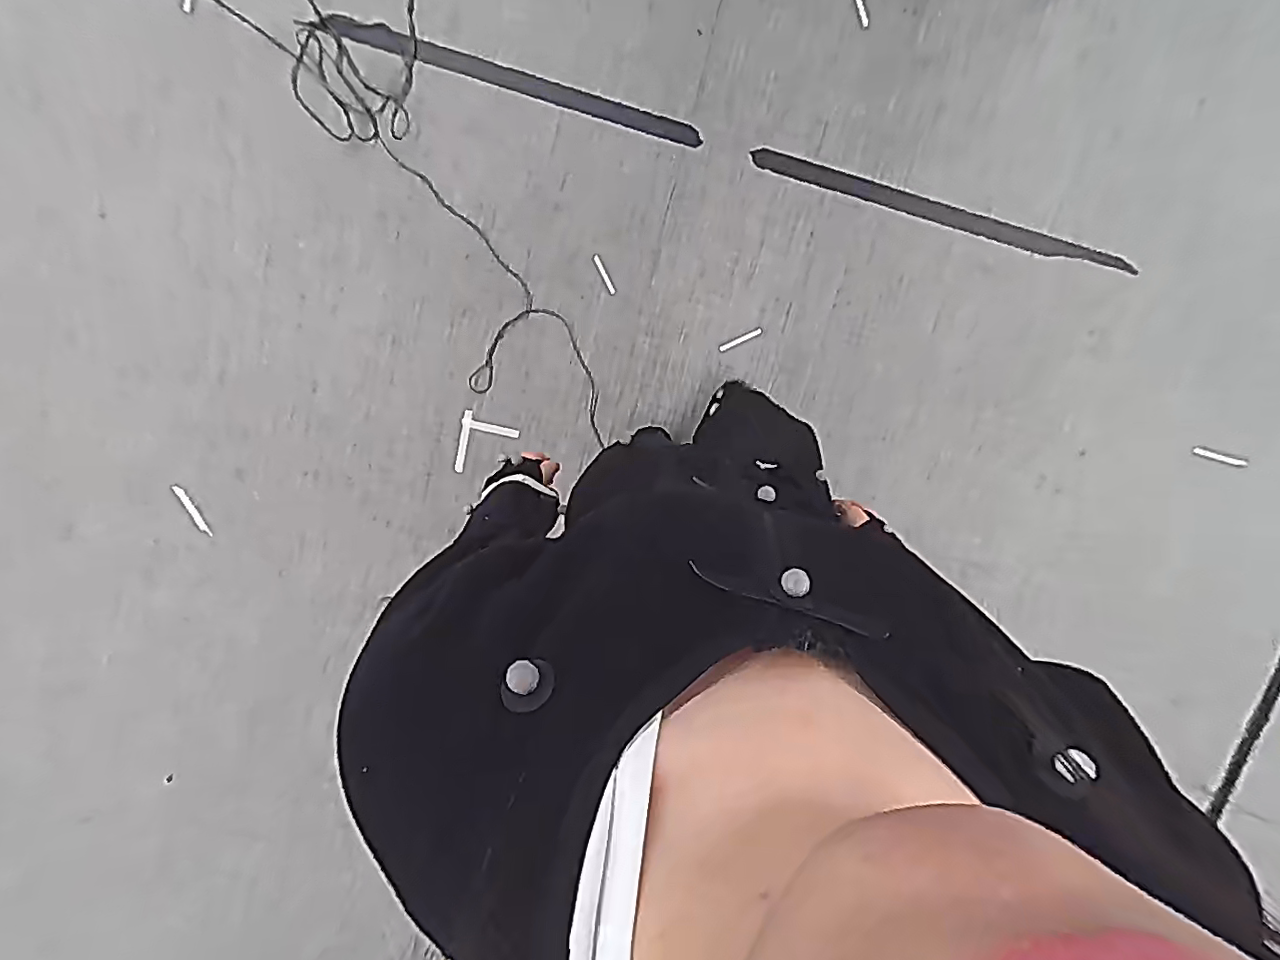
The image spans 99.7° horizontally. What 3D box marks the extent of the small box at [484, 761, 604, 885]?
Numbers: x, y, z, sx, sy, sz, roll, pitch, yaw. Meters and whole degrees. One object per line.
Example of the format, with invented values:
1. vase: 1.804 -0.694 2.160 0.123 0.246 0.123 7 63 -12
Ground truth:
1. small box: -0.158 0.585 0.853 0.168 0.176 0.179 18 99 -3

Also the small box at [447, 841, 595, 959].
1. small box: -0.159 0.614 0.693 0.168 0.176 0.179 17 100 -2
